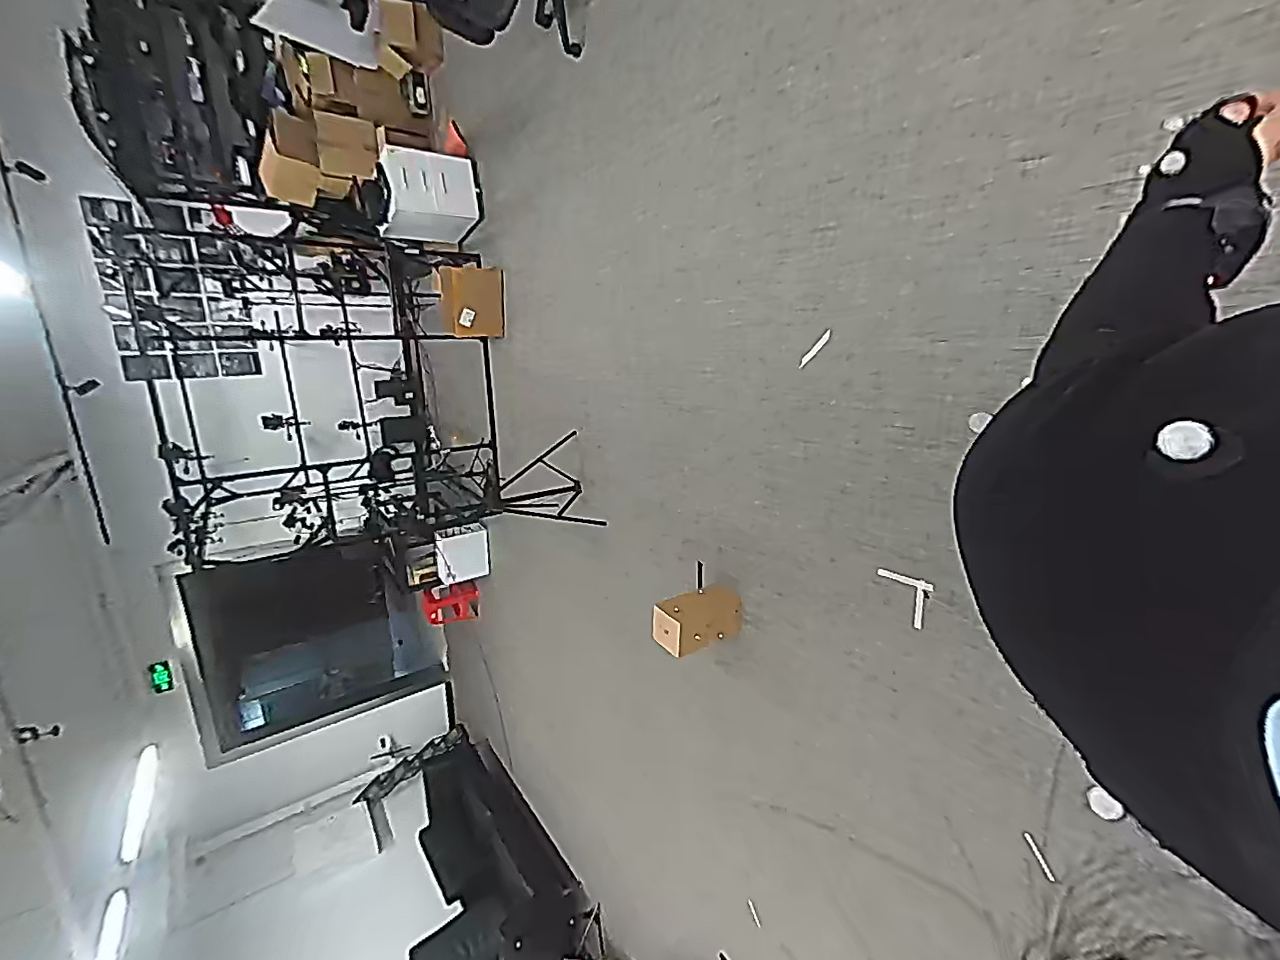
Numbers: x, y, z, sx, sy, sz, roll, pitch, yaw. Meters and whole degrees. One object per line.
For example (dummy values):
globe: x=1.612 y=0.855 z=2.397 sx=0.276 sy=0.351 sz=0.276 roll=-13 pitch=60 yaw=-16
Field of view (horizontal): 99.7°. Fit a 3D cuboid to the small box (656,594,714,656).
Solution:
small box: x=0.187 y=0.592 z=2.238 sx=0.179 sy=0.176 sz=0.168 roll=26 pitch=120 yaw=51
